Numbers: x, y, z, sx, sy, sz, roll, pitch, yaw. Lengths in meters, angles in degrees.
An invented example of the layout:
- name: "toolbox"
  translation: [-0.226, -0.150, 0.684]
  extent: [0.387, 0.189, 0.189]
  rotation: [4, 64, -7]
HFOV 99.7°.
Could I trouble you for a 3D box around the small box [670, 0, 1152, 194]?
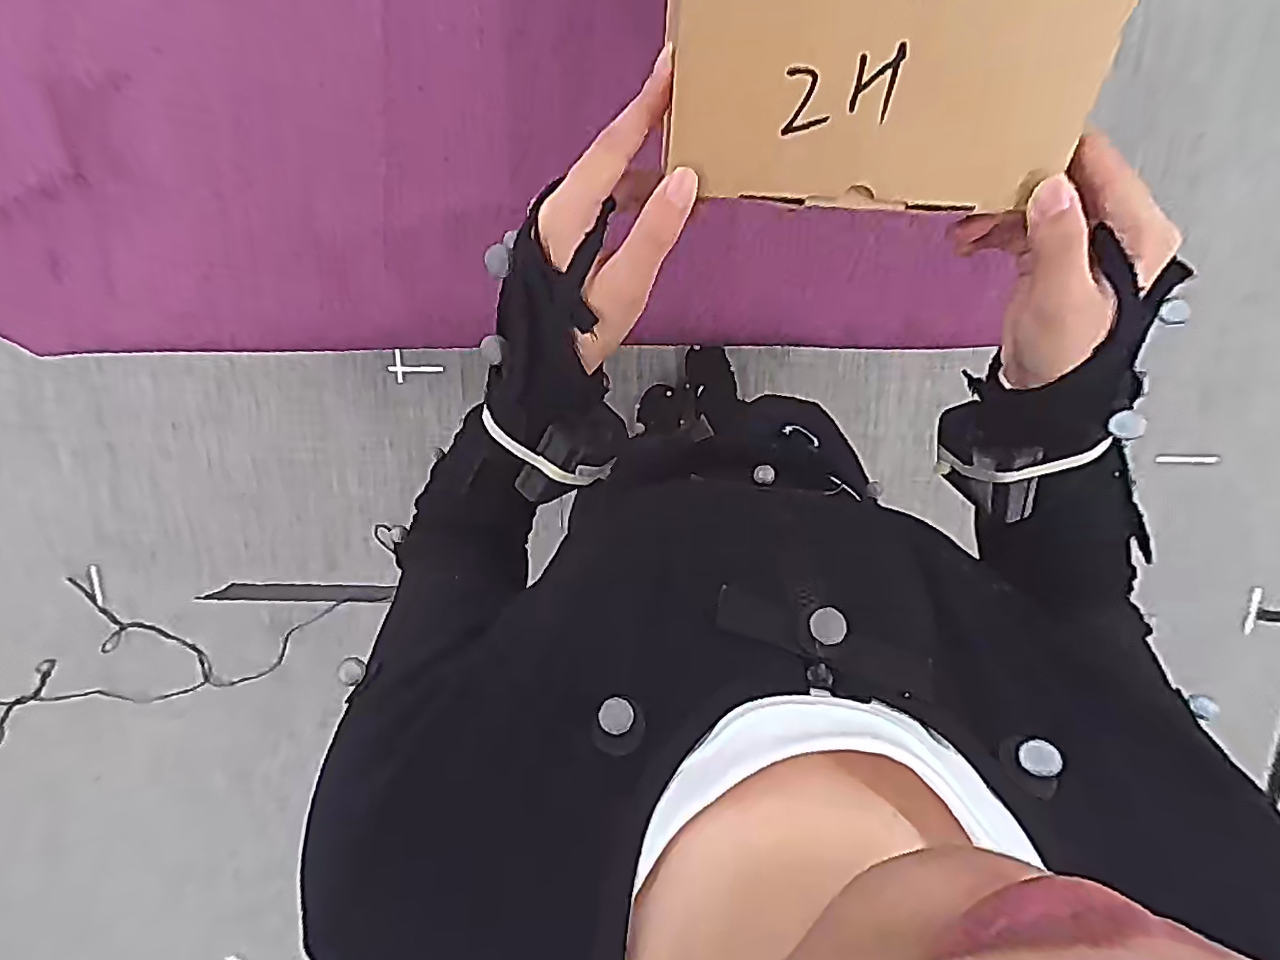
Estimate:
- name: "small box"
  translation: [0.103, -0.240, 0.244]
  extent: [0.168, 0.176, 0.179]
  rotation: [4, 124, 0]
